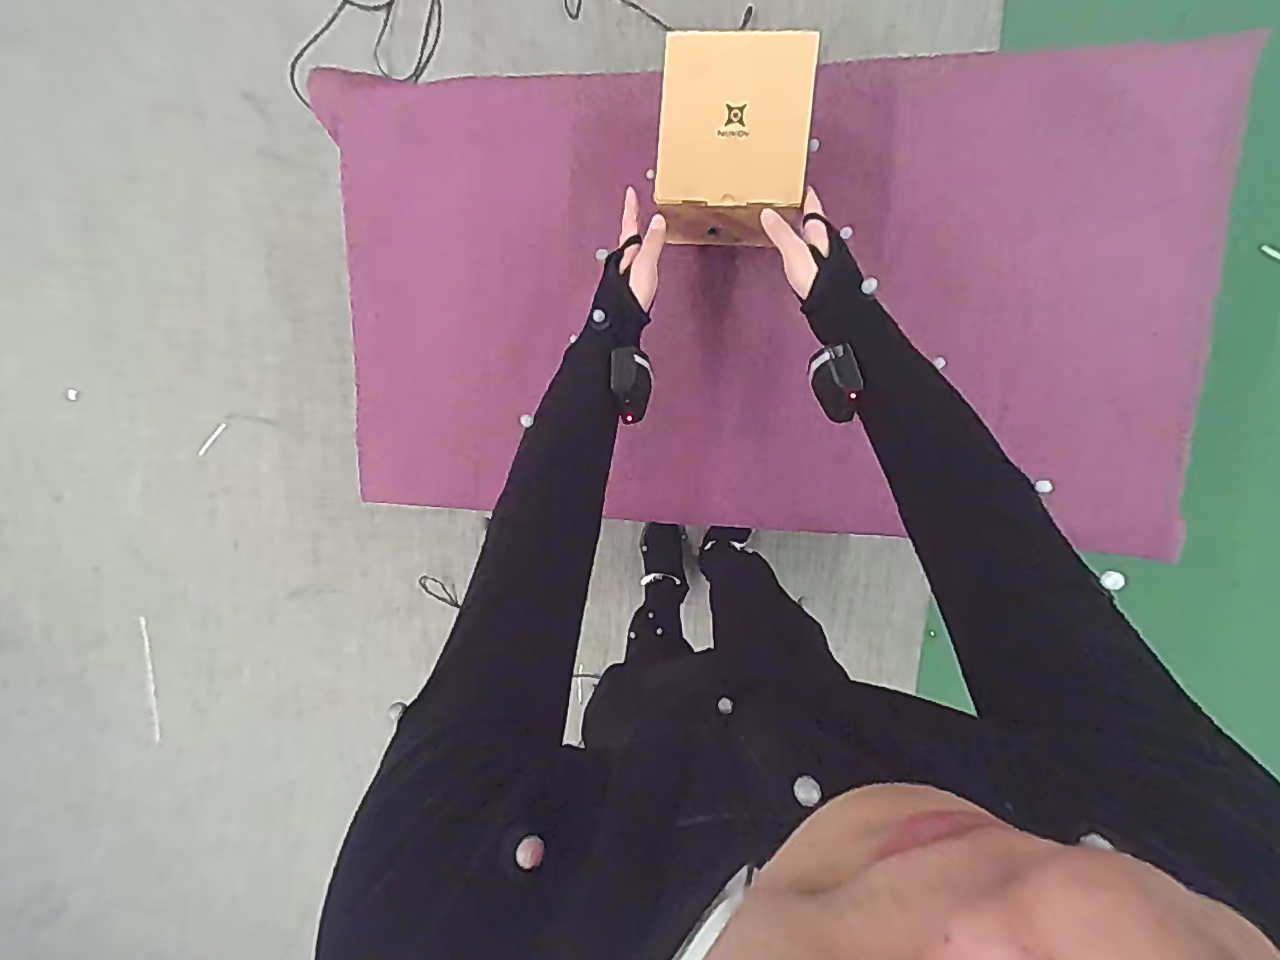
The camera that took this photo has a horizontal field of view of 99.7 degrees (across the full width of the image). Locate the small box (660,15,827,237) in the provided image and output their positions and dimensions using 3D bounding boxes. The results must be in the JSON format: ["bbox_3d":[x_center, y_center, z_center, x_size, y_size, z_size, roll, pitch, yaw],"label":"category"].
[{"bbox_3d":[0.116,-0.414,0.659,0.168,0.176,0.179,4,101,5],"label":"small box"}]
